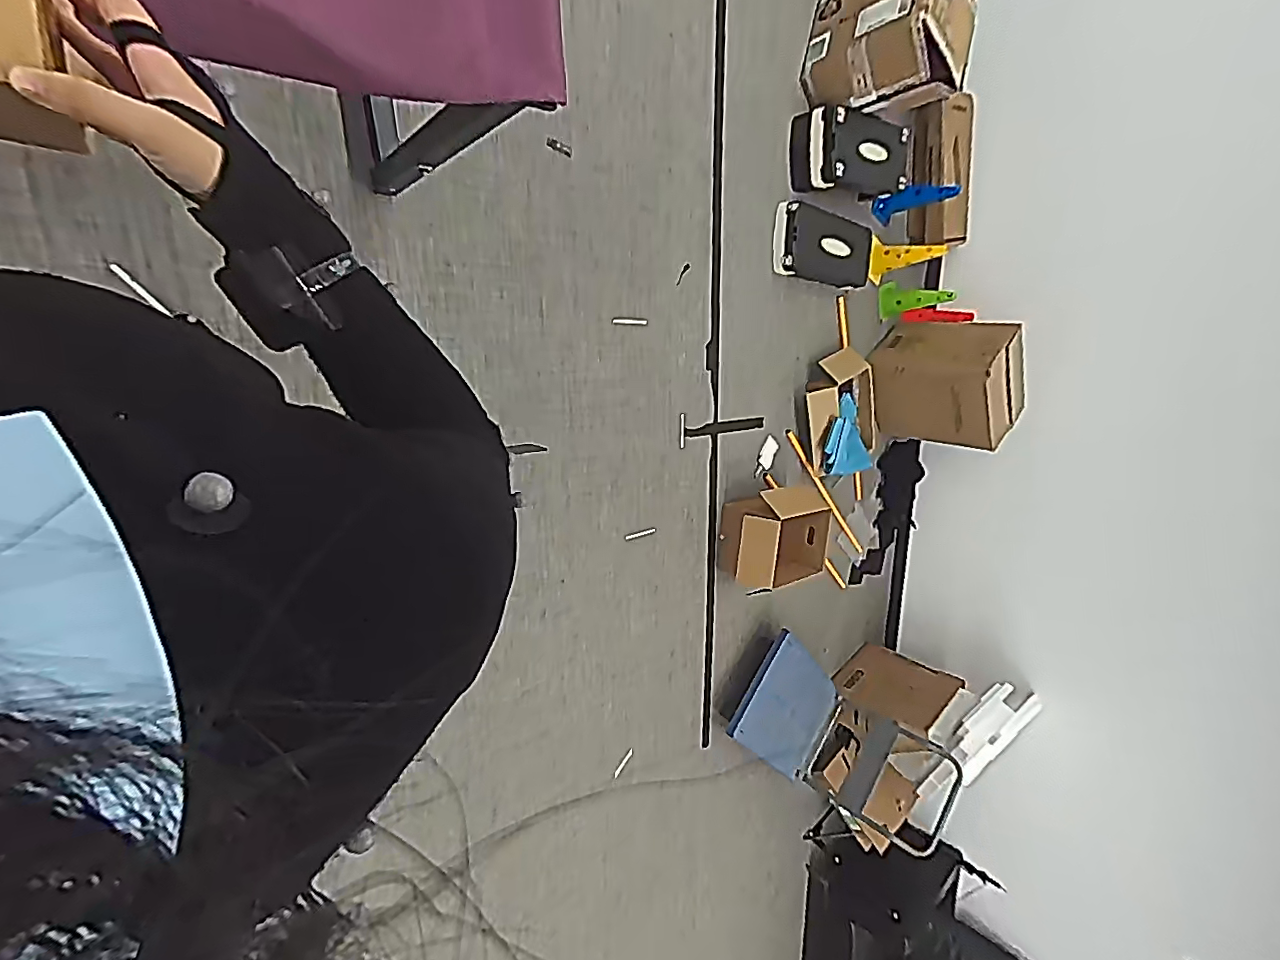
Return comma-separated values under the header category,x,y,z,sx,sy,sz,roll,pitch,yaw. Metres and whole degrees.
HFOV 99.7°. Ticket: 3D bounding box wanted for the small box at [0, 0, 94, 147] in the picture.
category,x,y,z,sx,sy,sz,roll,pitch,yaw
small box,-0.418,-0.302,0.280,0.168,0.176,0.179,-7,107,-38
